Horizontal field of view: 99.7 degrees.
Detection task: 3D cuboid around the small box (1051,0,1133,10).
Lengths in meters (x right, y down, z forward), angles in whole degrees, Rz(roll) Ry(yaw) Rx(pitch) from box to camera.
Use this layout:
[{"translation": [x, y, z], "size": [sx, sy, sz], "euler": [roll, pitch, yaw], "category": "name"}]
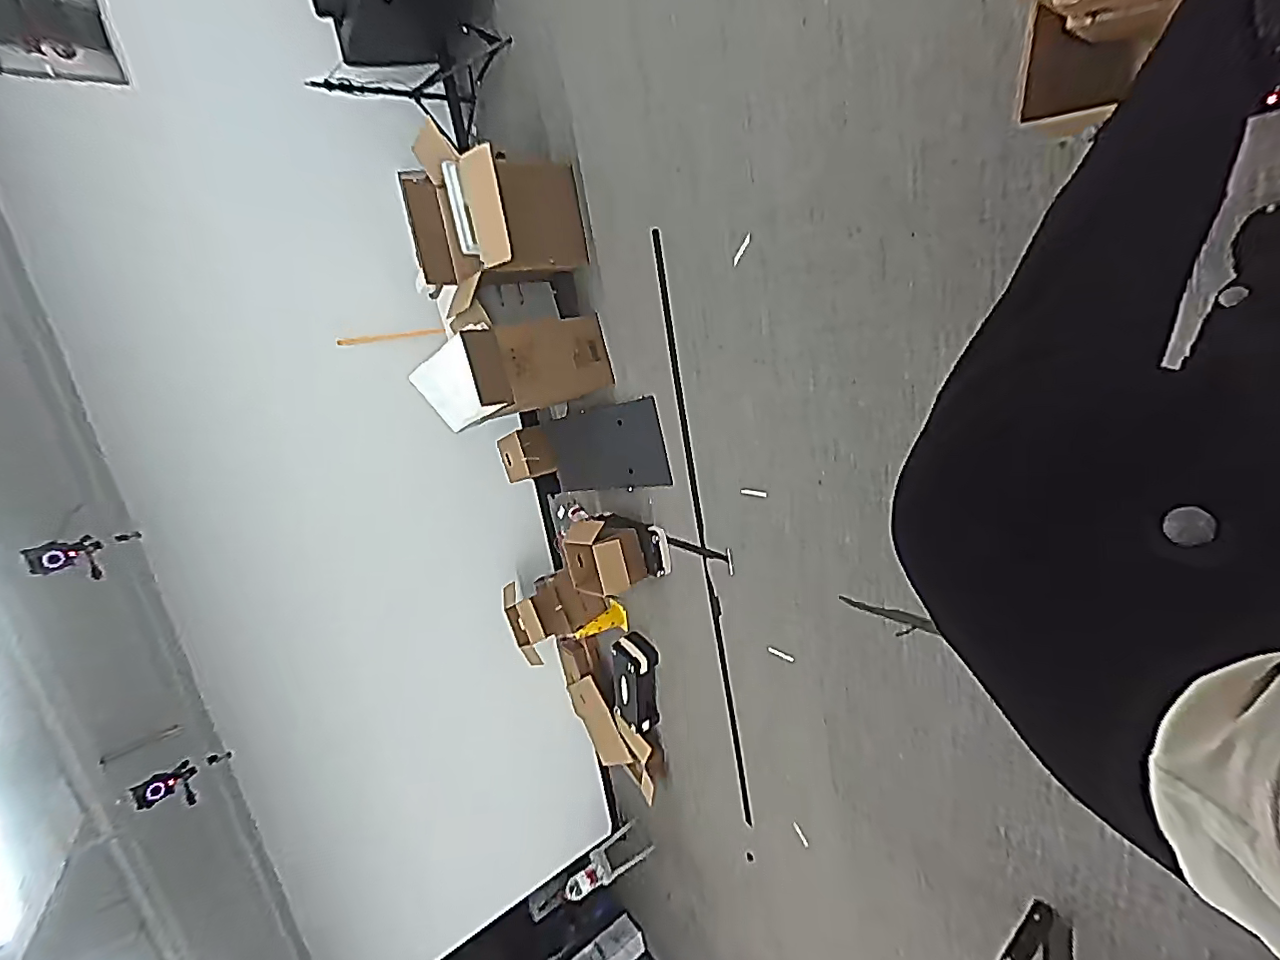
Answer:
[{"translation": [0.605, -0.690, 0.637], "size": [0.168, 0.176, 0.179], "euler": [32, 130, 46], "category": "small box"}]
